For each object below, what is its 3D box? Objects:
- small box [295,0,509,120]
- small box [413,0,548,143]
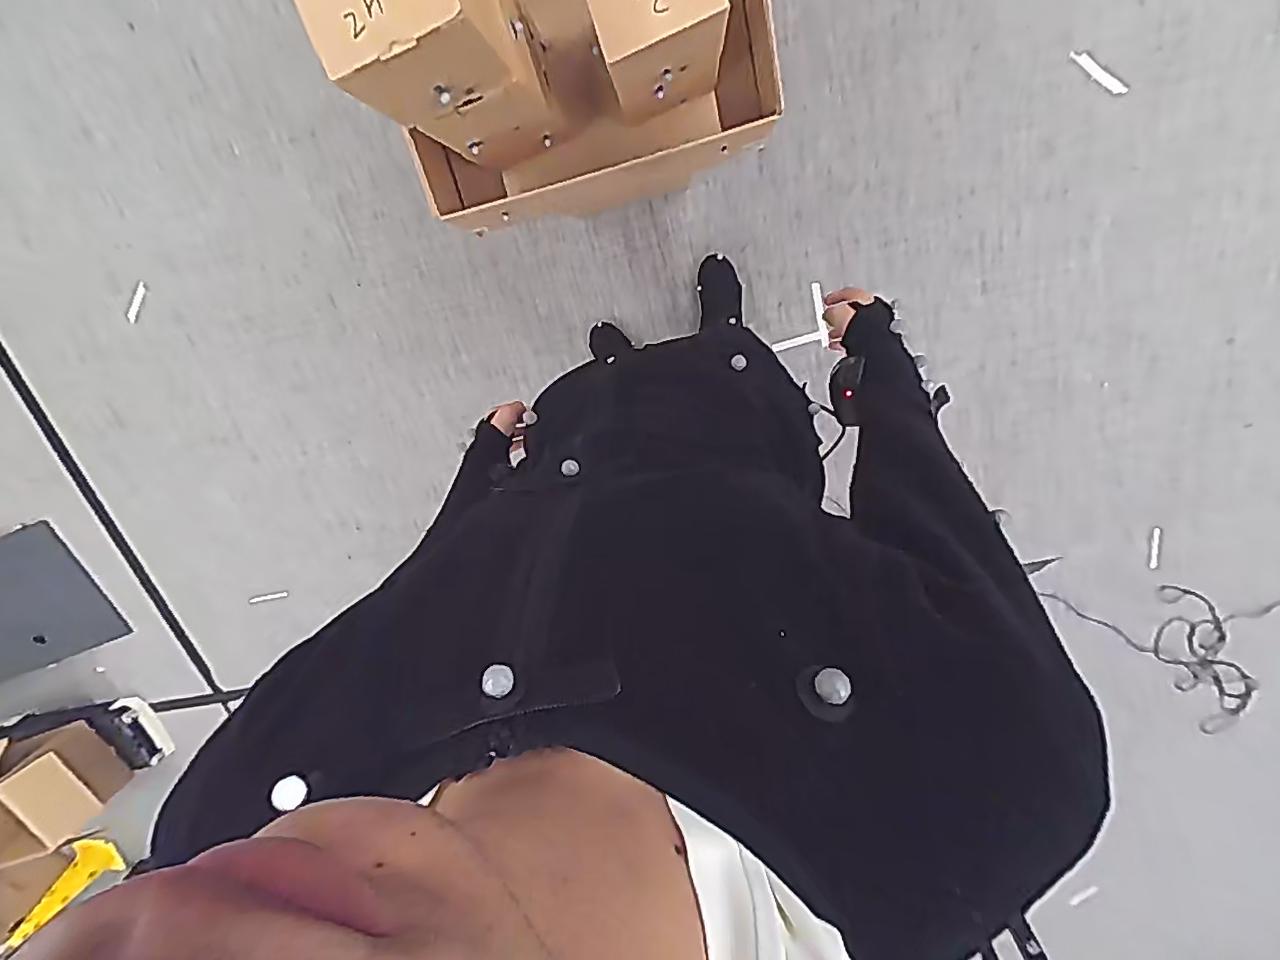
[{"bbox_3d":[-0.274,-0.552,0.610,0.168,0.176,0.179,-17,107,11],"label":"small box"},{"bbox_3d":[-0.246,-0.605,0.765,0.168,0.176,0.179,-15,107,10],"label":"small box"}]
